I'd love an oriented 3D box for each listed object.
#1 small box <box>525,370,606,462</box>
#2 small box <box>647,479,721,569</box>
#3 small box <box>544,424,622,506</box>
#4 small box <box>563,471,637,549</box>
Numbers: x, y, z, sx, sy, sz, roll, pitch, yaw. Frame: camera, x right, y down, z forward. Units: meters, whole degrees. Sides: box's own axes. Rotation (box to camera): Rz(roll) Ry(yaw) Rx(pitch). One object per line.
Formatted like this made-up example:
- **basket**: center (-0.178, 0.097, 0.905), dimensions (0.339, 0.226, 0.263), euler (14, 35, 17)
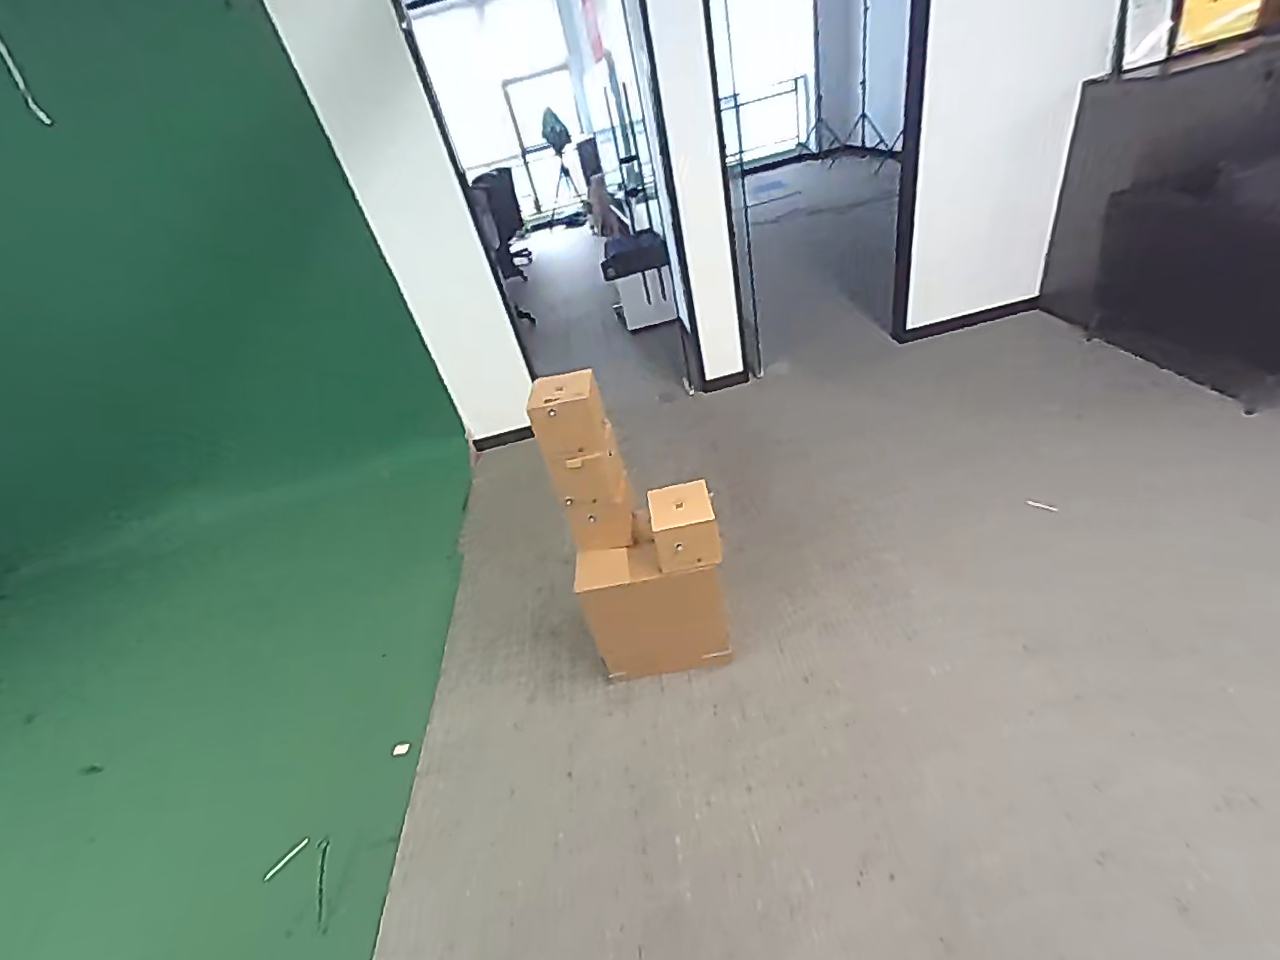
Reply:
- **small box**: center (-0.192, -0.172, 1.459), dimensions (0.168, 0.176, 0.179), euler (-12, 34, 7)
- **small box**: center (0.122, 0.129, 1.501), dimensions (0.168, 0.176, 0.179), euler (-12, 35, 3)
- **small box**: center (-0.154, -0.037, 1.547), dimensions (0.168, 0.176, 0.179), euler (-7, 34, 12)
- **small box**: center (-0.115, 0.095, 1.638), dimensions (0.179, 0.176, 0.168), euler (-7, 36, 9)
